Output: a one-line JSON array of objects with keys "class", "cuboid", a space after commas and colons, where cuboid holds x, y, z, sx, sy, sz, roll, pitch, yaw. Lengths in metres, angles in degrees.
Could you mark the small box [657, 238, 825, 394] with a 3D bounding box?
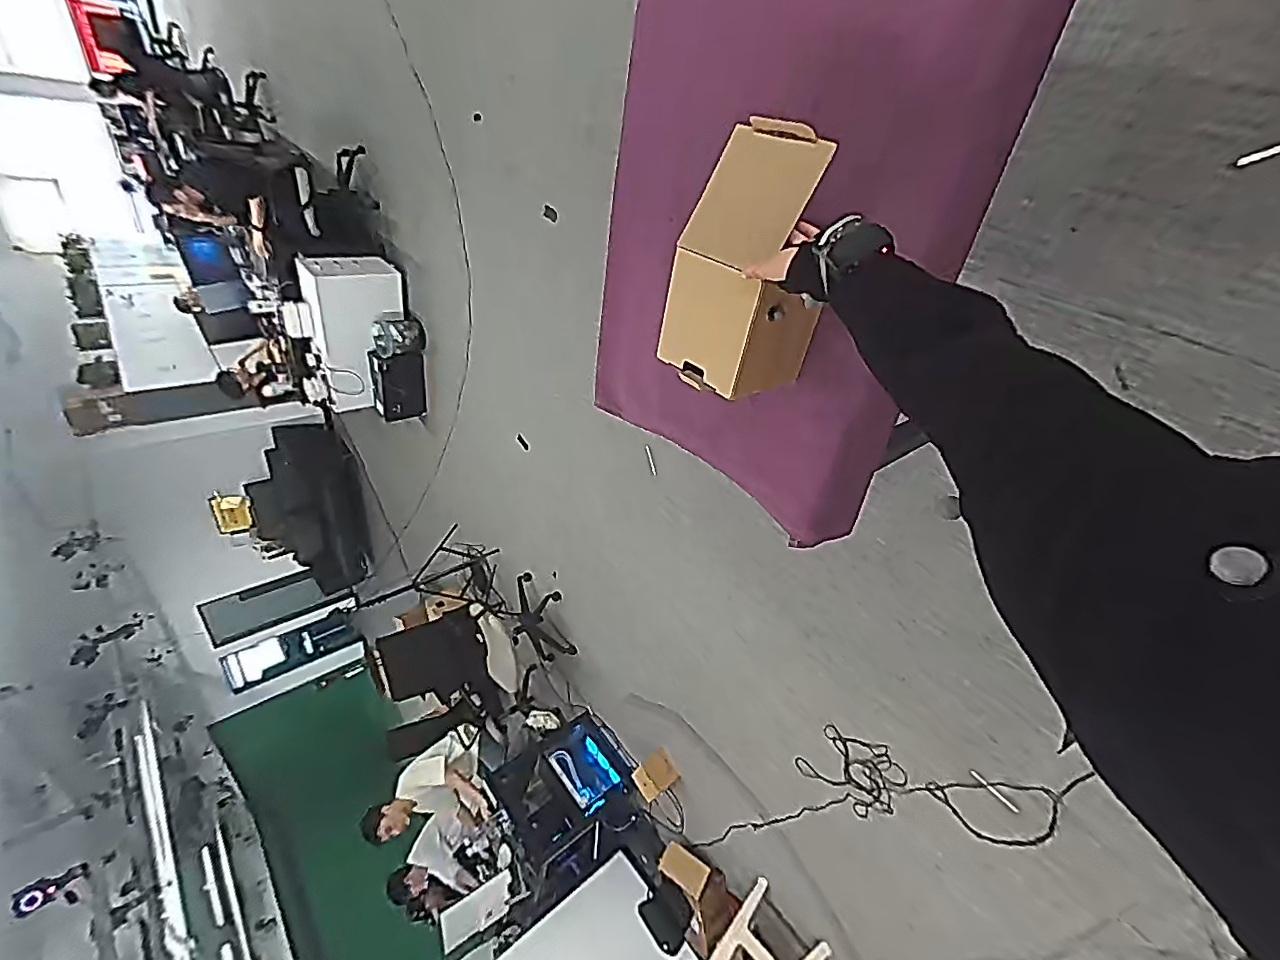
[{"class": "small box", "cuboid": [0.153, -0.256, 0.824, 0.168, 0.176, 0.179, 40, 134, 35]}]
